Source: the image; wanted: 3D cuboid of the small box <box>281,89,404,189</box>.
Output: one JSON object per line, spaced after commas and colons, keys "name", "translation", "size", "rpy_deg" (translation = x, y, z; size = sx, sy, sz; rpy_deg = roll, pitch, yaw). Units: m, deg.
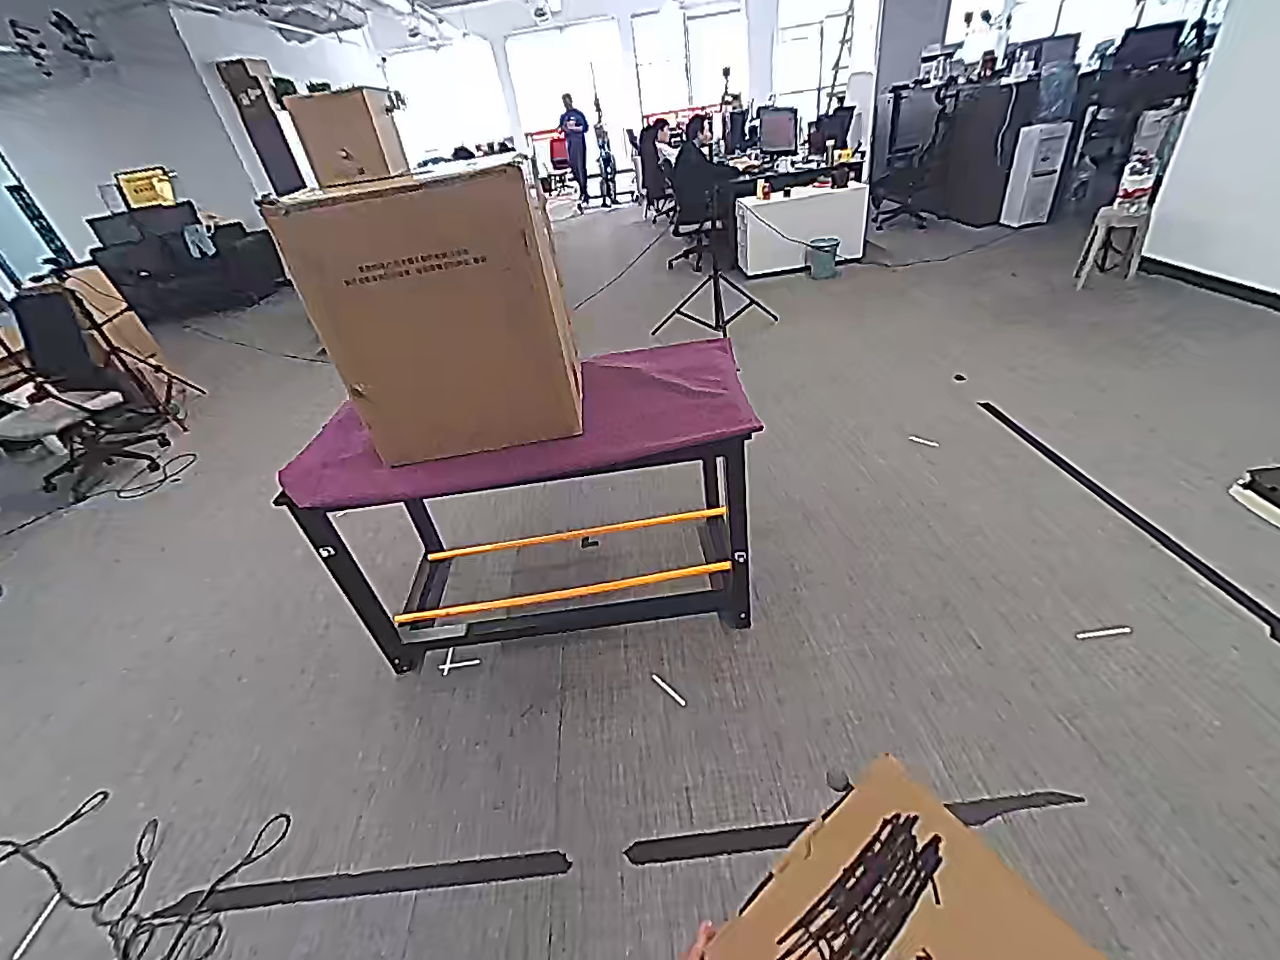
{"name": "small box", "translation": [-0.658, -0.770, 1.226], "size": [0.168, 0.176, 0.179], "rpy_deg": [-10, 35, 0]}
